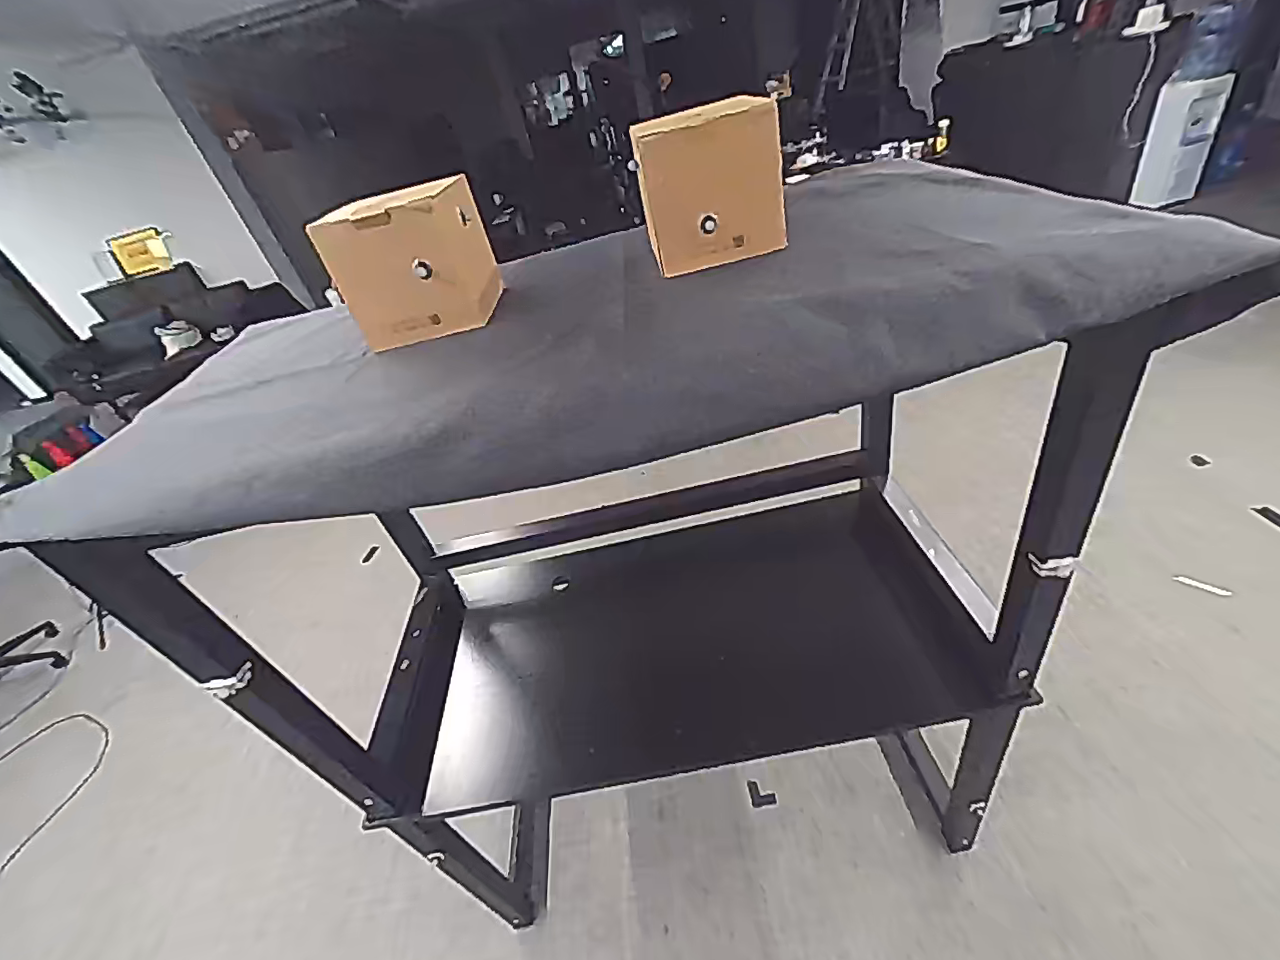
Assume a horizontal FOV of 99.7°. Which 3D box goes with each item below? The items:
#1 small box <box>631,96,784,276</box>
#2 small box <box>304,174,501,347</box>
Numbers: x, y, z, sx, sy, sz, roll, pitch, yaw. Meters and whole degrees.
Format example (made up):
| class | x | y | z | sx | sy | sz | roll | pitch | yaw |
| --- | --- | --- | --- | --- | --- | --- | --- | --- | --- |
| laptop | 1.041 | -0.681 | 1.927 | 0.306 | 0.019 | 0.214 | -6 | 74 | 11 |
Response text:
| class | x | y | z | sx | sy | sz | roll | pitch | yaw |
| --- | --- | --- | --- | --- | --- | --- | --- | --- | --- |
| small box | 0.088 | -0.393 | 0.725 | 0.168 | 0.176 | 0.179 | -13 | 37 | 4 |
| small box | -0.307 | -0.296 | 0.747 | 0.168 | 0.176 | 0.179 | -11 | 37 | 5 |
